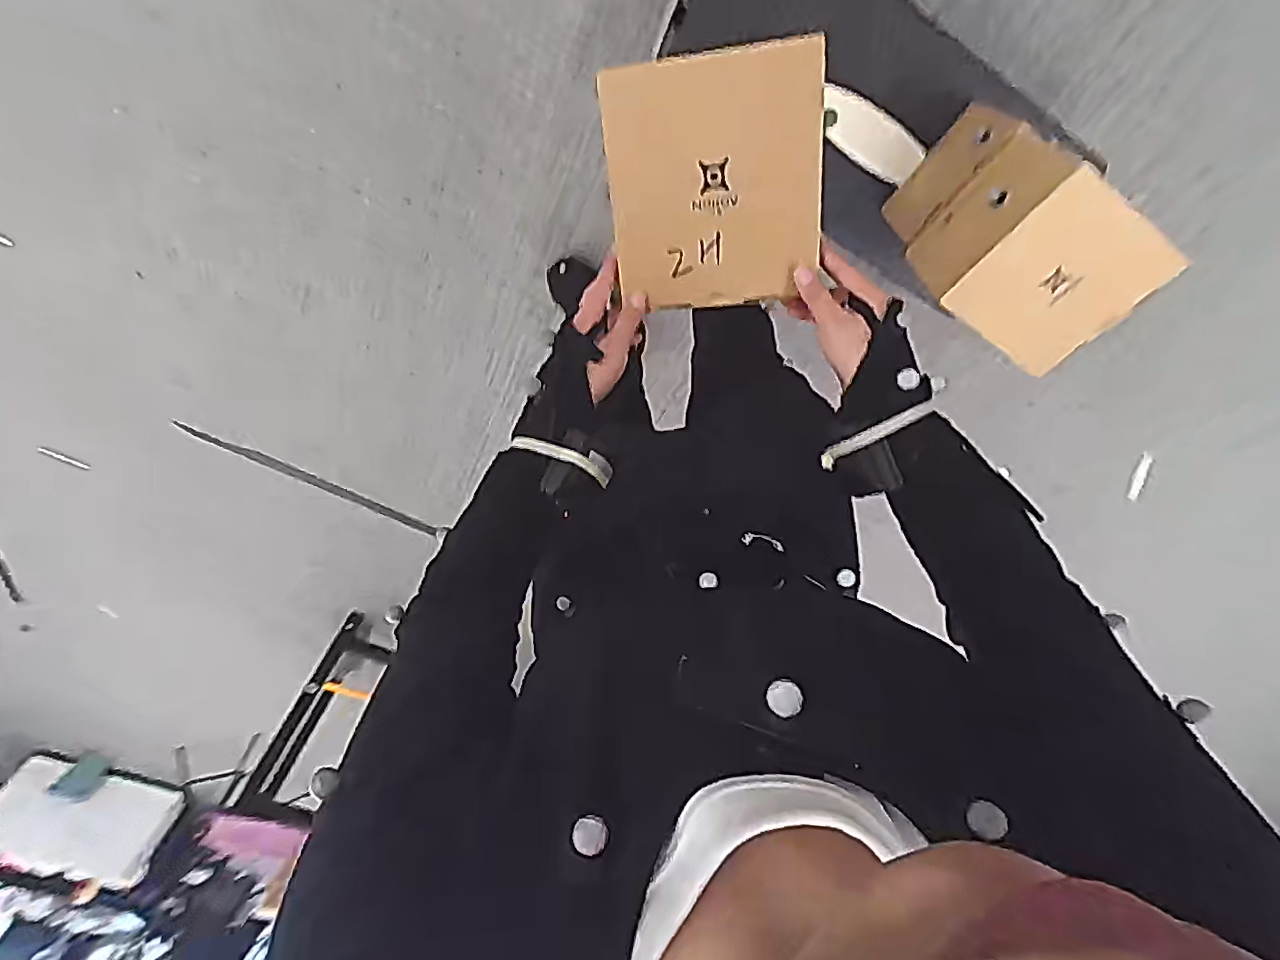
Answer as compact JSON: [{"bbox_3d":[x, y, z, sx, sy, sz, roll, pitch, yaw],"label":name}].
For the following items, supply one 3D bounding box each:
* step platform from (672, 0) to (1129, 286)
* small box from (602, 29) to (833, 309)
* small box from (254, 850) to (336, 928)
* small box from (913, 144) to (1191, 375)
[{"bbox_3d":[0.381,-0.561,0.844,0.684,0.204,0.286,27,129,-12],"label":"step platform"},{"bbox_3d":[0.069,-0.260,0.486,0.168,0.176,0.179,-2,116,9],"label":"small box"},{"bbox_3d":[-1.163,1.383,1.829,0.168,0.176,0.179,29,128,-15],"label":"small box"},{"bbox_3d":[0.460,-0.264,0.638,0.179,0.176,0.168,28,129,-15],"label":"small box"}]
